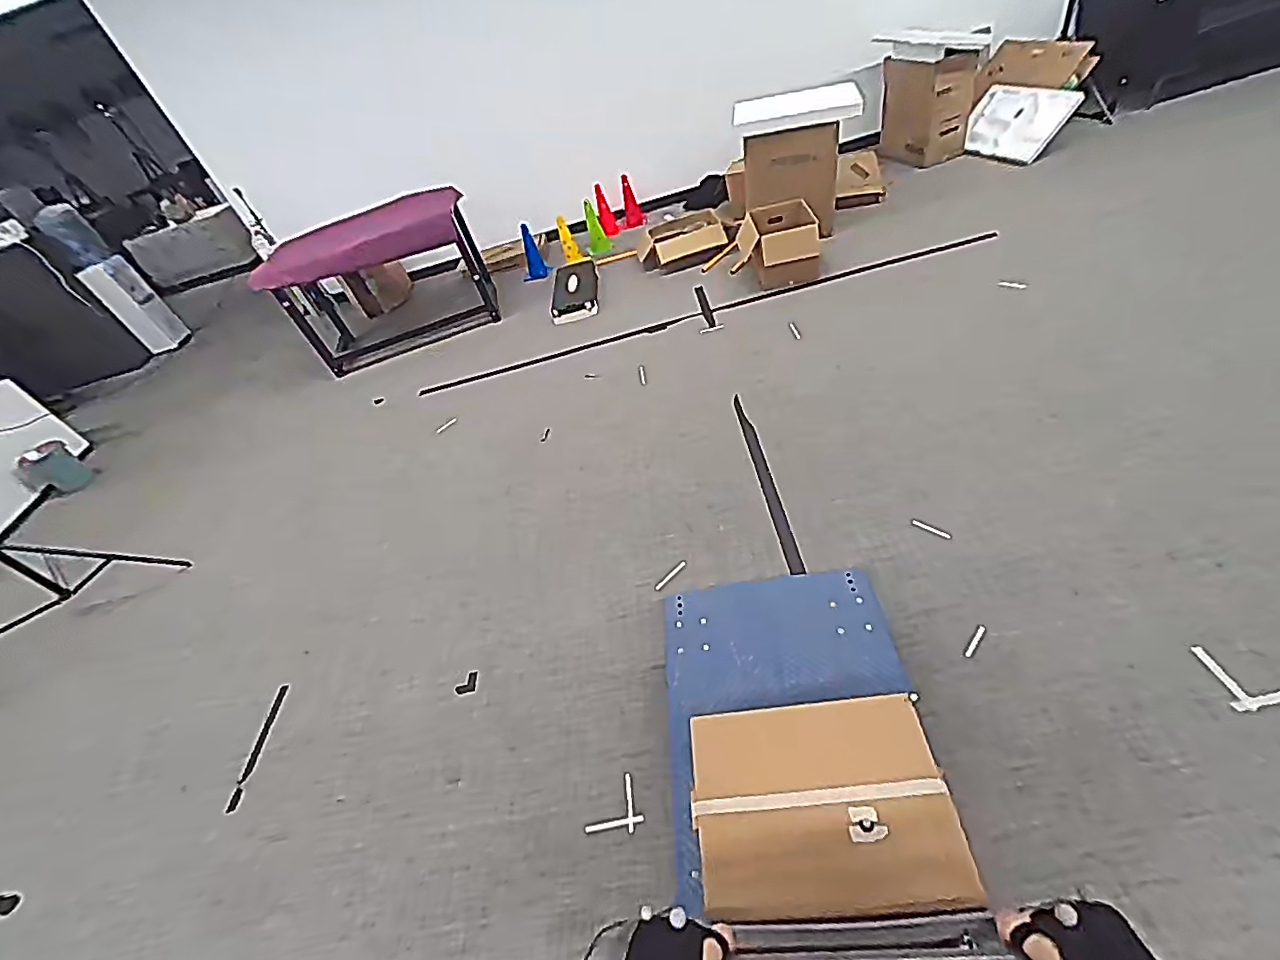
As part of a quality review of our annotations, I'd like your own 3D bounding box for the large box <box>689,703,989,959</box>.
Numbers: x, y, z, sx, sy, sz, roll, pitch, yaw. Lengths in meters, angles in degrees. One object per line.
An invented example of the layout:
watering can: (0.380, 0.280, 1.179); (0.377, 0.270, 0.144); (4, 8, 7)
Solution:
large box: (0.321, 0.646, 0.981); (0.408, 0.320, 0.320); (-10, 43, 8)
